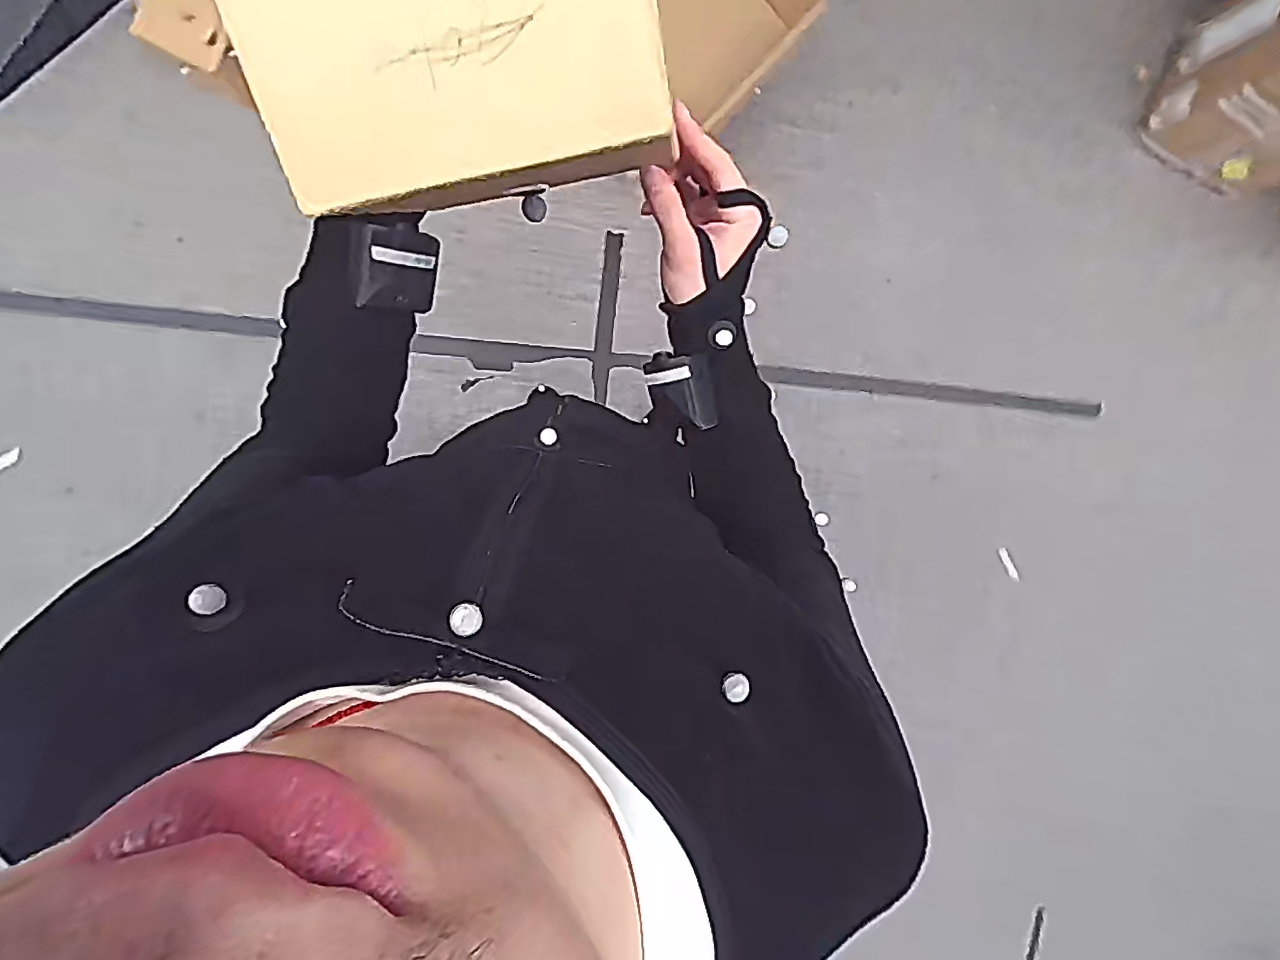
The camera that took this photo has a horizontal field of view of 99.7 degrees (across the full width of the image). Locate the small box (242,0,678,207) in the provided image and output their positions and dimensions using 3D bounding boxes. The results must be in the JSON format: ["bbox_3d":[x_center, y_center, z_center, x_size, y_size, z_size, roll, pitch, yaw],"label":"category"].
[{"bbox_3d":[-0.072,-0.243,0.269,0.168,0.176,0.179,-6,117,8],"label":"small box"}]
